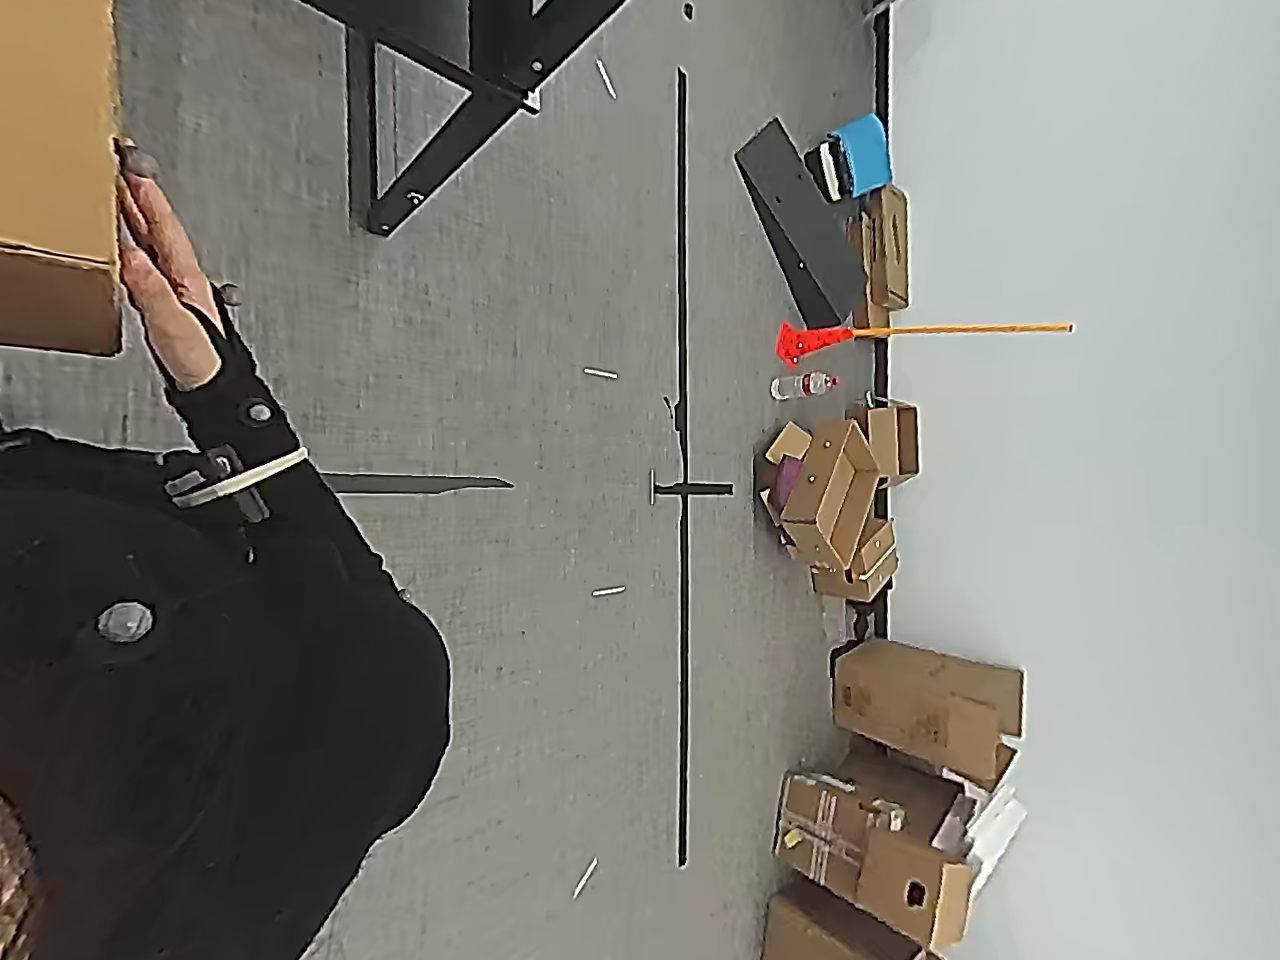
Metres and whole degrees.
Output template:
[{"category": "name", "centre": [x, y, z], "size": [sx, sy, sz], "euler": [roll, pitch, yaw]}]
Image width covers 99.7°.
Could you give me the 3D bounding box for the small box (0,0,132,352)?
[{"category": "small box", "centre": [-0.371, -0.180, 0.272], "size": [0.168, 0.176, 0.179], "euler": [-1, 87, -43]}]
